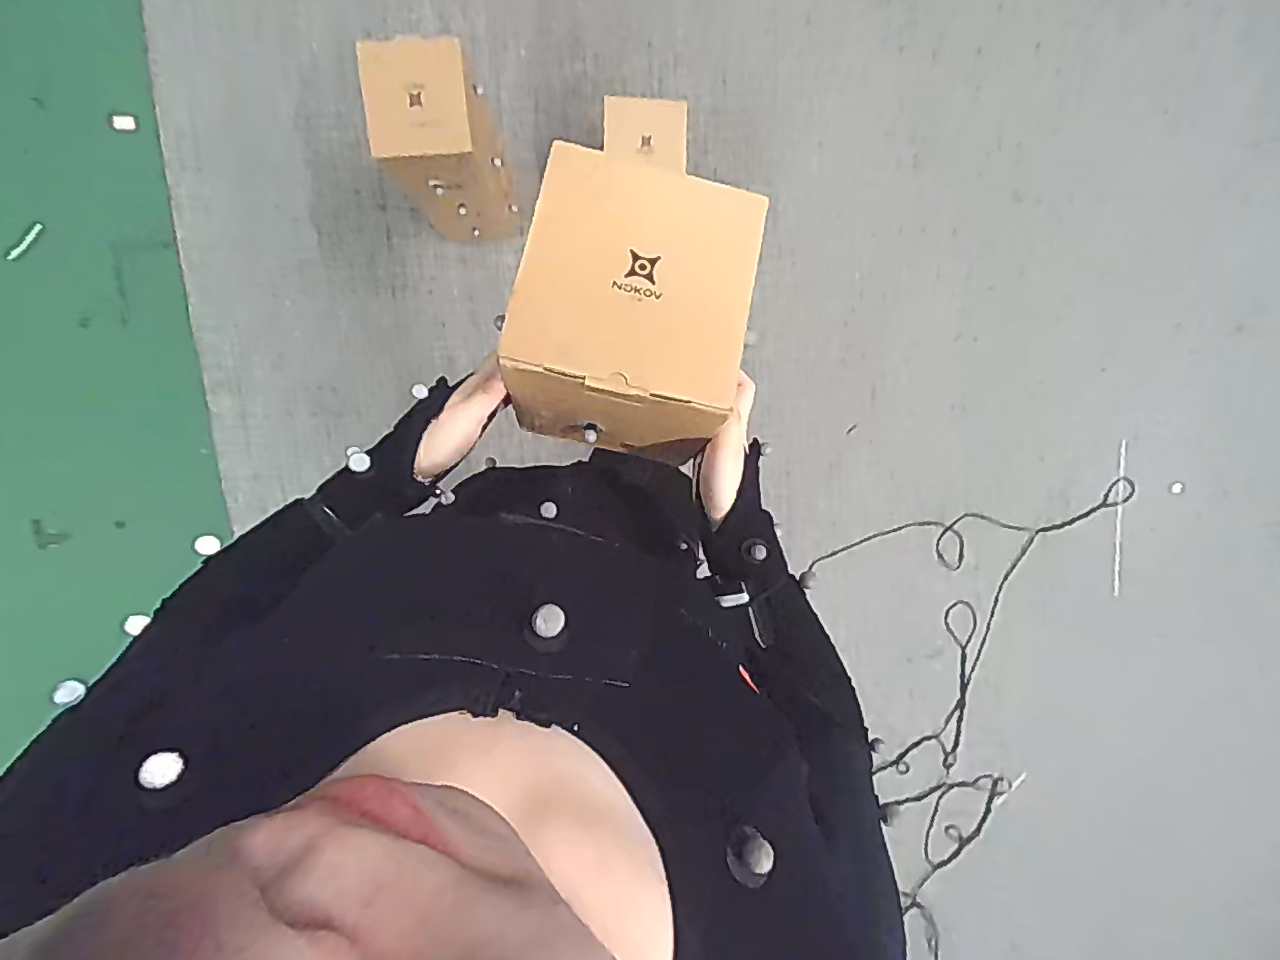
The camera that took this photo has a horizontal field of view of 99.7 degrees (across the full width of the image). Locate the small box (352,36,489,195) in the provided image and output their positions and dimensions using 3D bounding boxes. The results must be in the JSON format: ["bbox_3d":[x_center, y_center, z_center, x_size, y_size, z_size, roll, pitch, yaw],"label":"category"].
[{"bbox_3d":[-0.372,-0.625,0.945,0.168,0.176,0.179,-6,100,-3],"label":"small box"}]

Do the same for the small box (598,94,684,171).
[{"bbox_3d":[-0.005,-0.669,1.138,0.168,0.176,0.179,0,99,-5],"label":"small box"}]

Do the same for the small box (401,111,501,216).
[{"bbox_3d":[-0.389,-0.655,1.105,0.168,0.176,0.179,-7,100,-4],"label":"small box"}]

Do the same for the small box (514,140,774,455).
[{"bbox_3d":[-0.002,-0.135,0.461,0.168,0.176,0.179,11,79,-5],"label":"small box"}]
